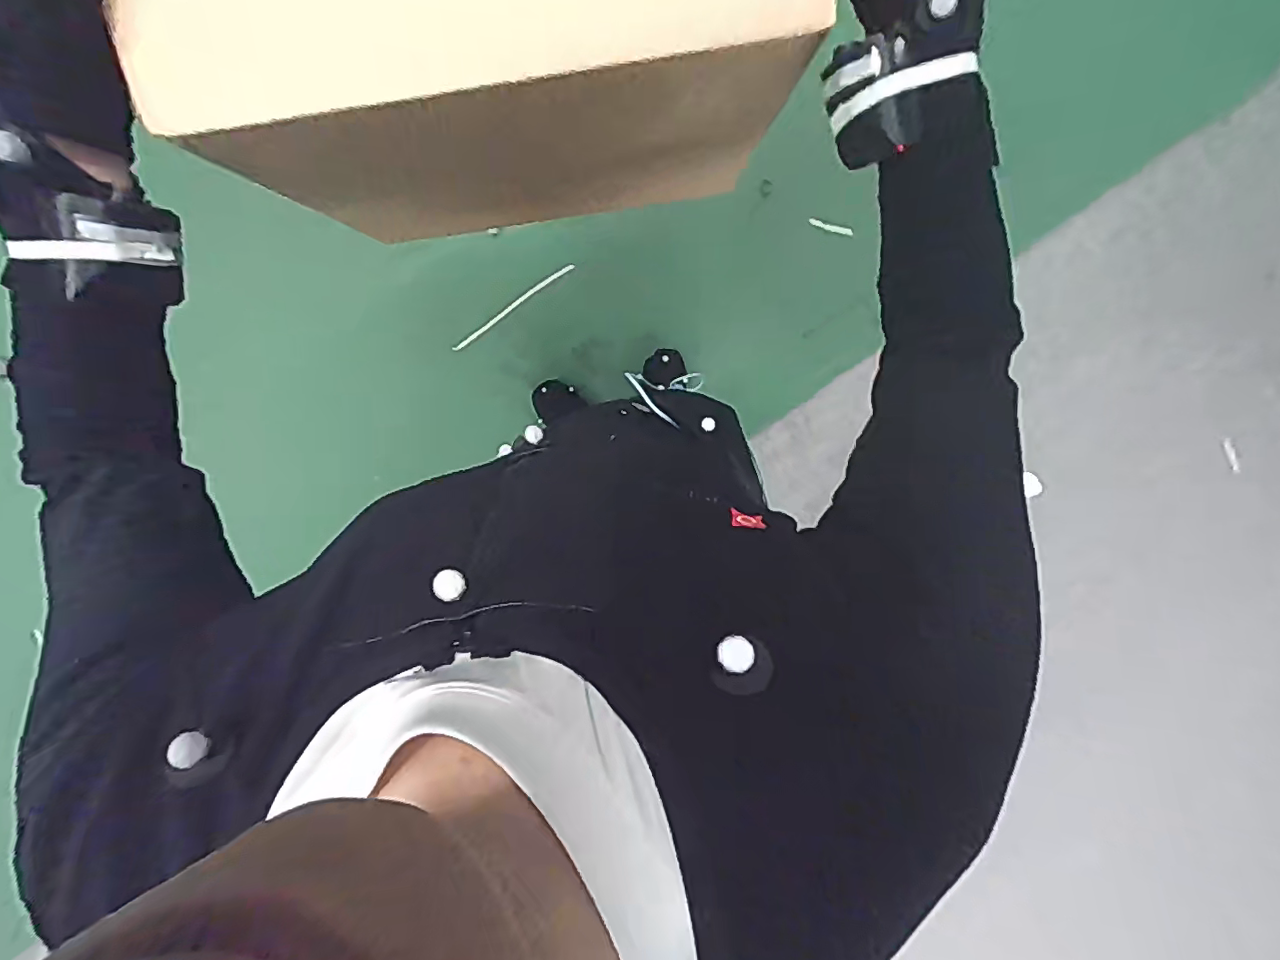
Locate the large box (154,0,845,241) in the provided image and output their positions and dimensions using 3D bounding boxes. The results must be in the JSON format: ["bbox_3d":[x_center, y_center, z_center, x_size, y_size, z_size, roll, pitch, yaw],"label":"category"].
[{"bbox_3d":[-0.102,-0.417,0.438,0.408,0.320,0.320,-9,103,-1],"label":"large box"}]
